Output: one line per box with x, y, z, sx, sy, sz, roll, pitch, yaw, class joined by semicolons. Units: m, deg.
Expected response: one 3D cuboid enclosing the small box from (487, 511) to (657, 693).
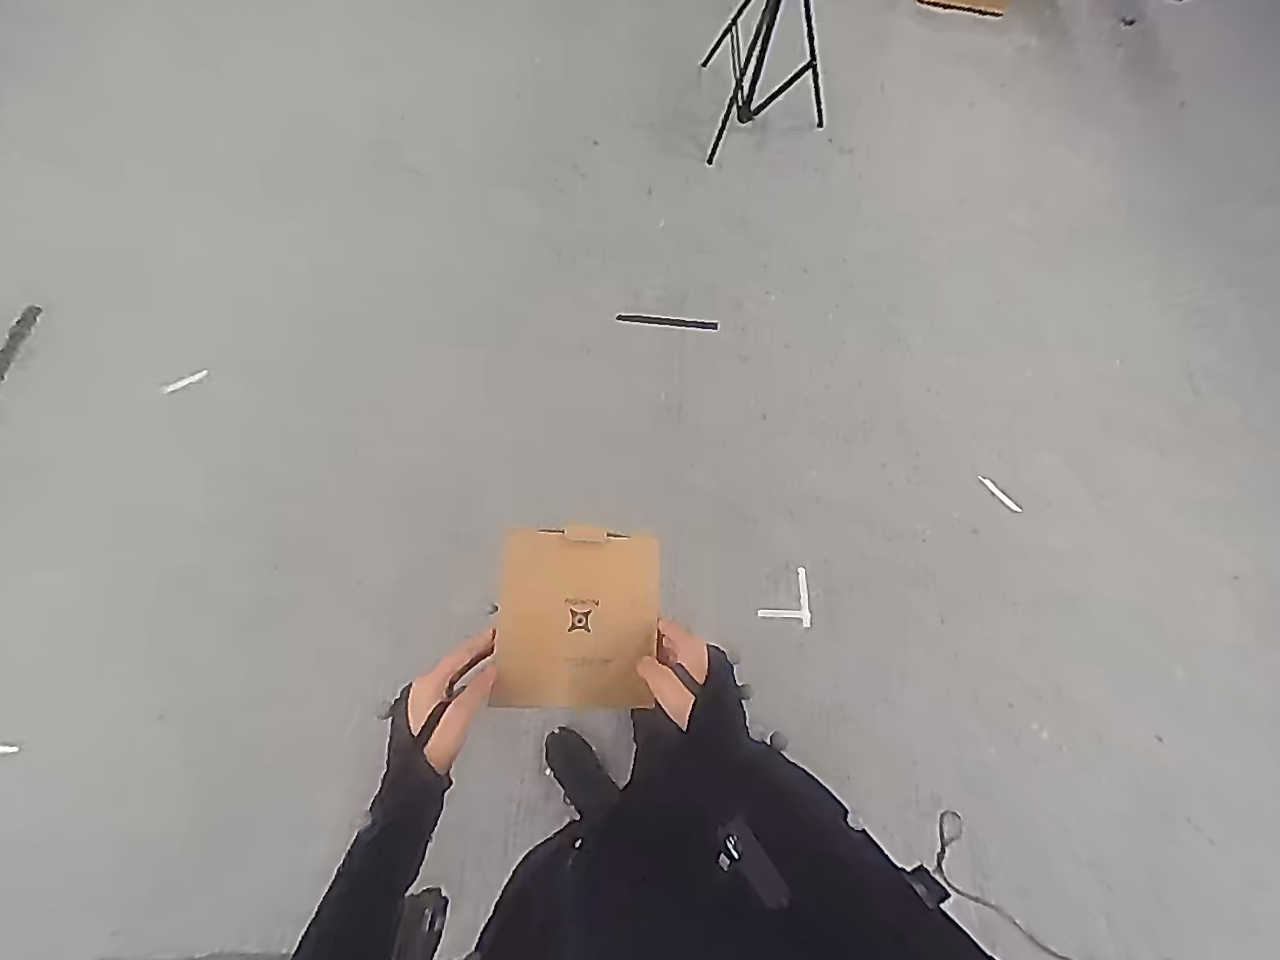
-0.082;0.145;0.627;0.168;0.176;0.179;6;74;-11;small box
